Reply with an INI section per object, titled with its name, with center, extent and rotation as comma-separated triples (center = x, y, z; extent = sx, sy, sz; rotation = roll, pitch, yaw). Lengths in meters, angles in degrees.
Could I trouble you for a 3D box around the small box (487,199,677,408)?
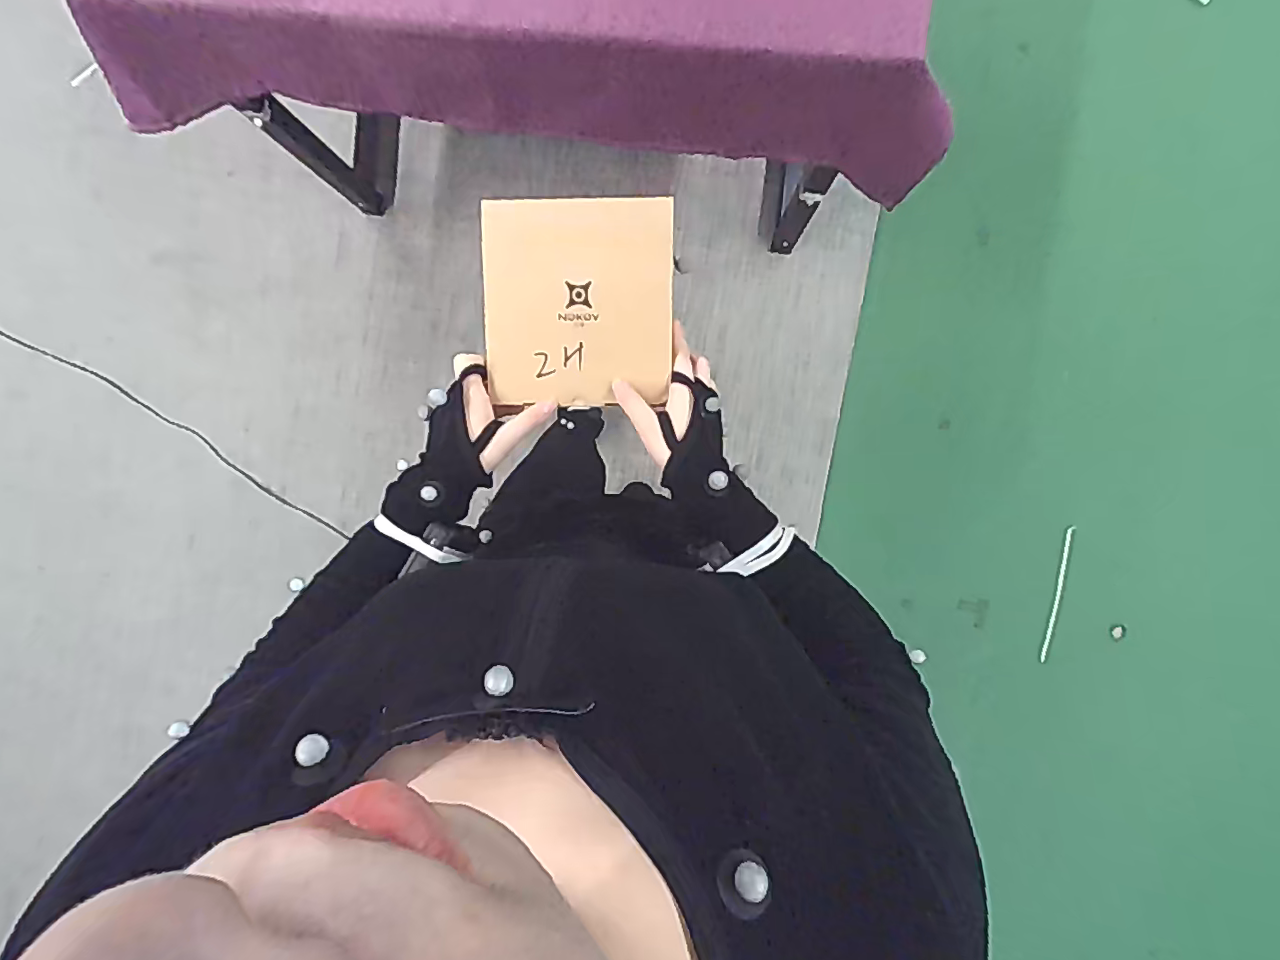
[small box]
center = -0.049, -0.164, 0.550
extent = 0.168, 0.176, 0.179
rotation = 1, 99, 3
